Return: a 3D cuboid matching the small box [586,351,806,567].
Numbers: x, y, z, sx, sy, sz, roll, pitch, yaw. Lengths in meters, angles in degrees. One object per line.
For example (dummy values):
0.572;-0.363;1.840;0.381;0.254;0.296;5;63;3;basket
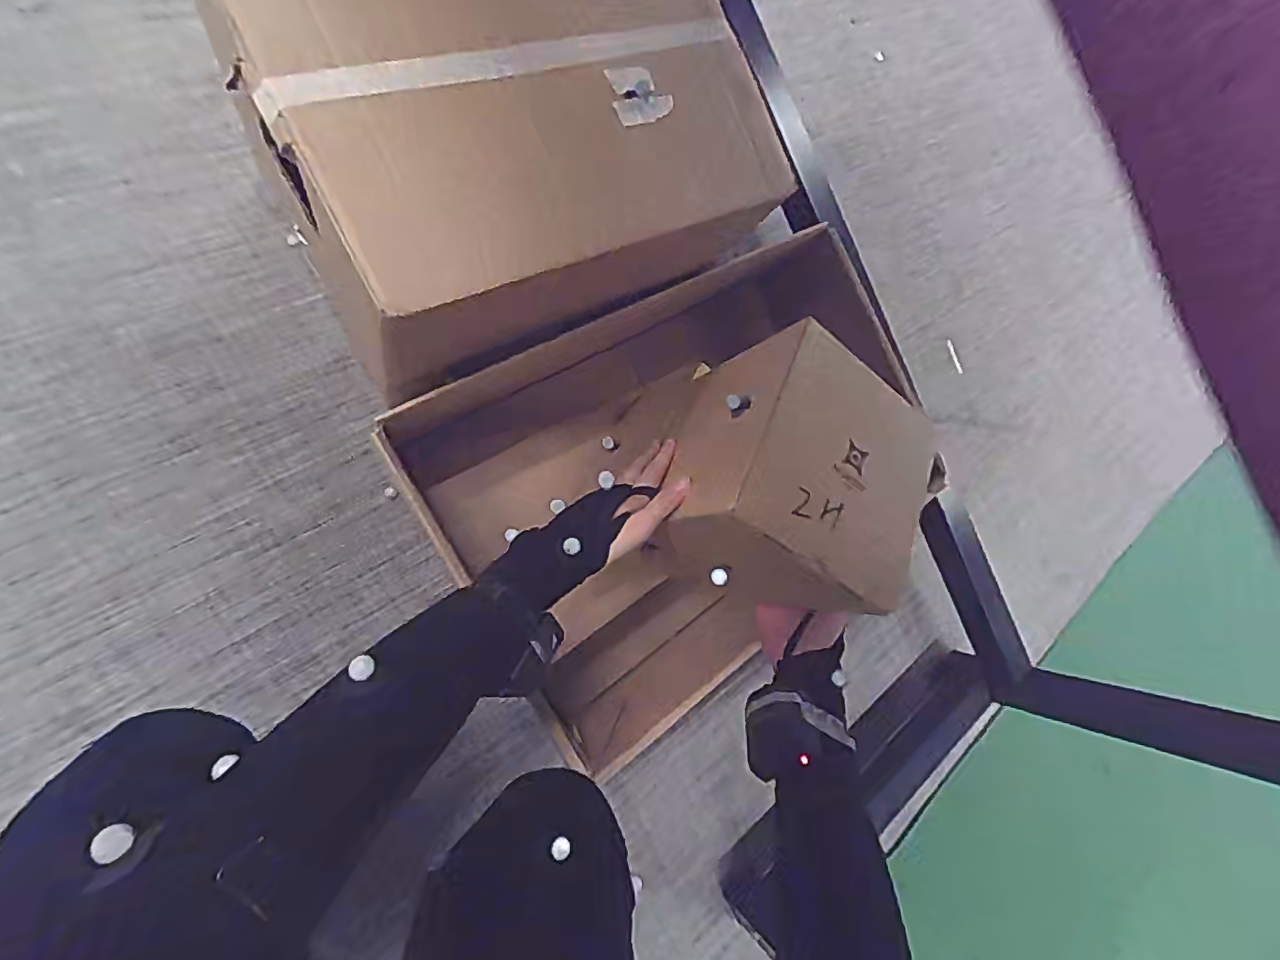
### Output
0.055;-0.014;0.639;0.168;0.176;0.179;33;72;-19;small box
